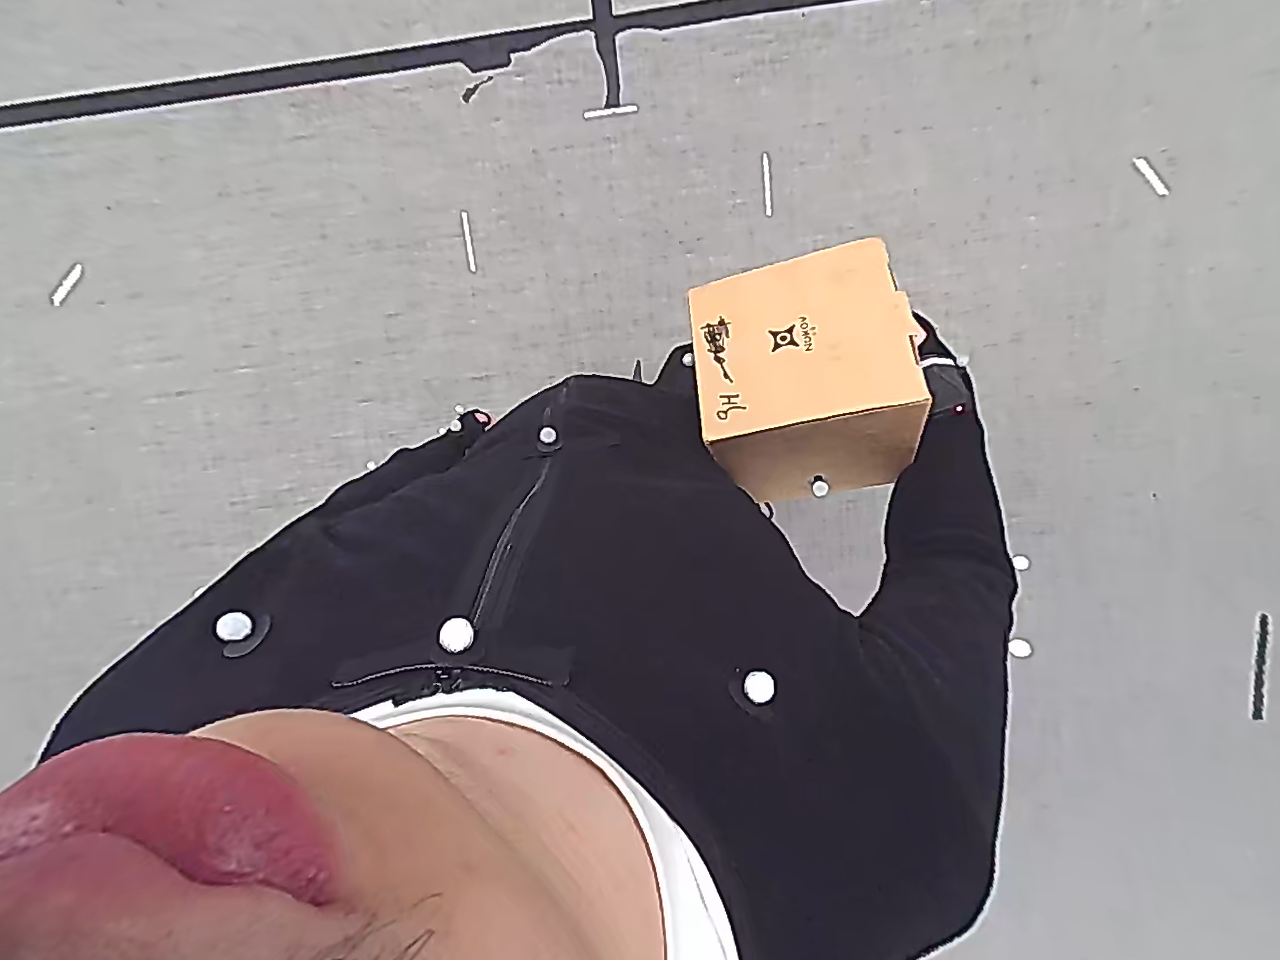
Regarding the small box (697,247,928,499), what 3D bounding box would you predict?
[{"bbox_3d":[0.163,-0.092,0.542,0.179,0.176,0.168,-9,65,16],"label":"small box"}]
